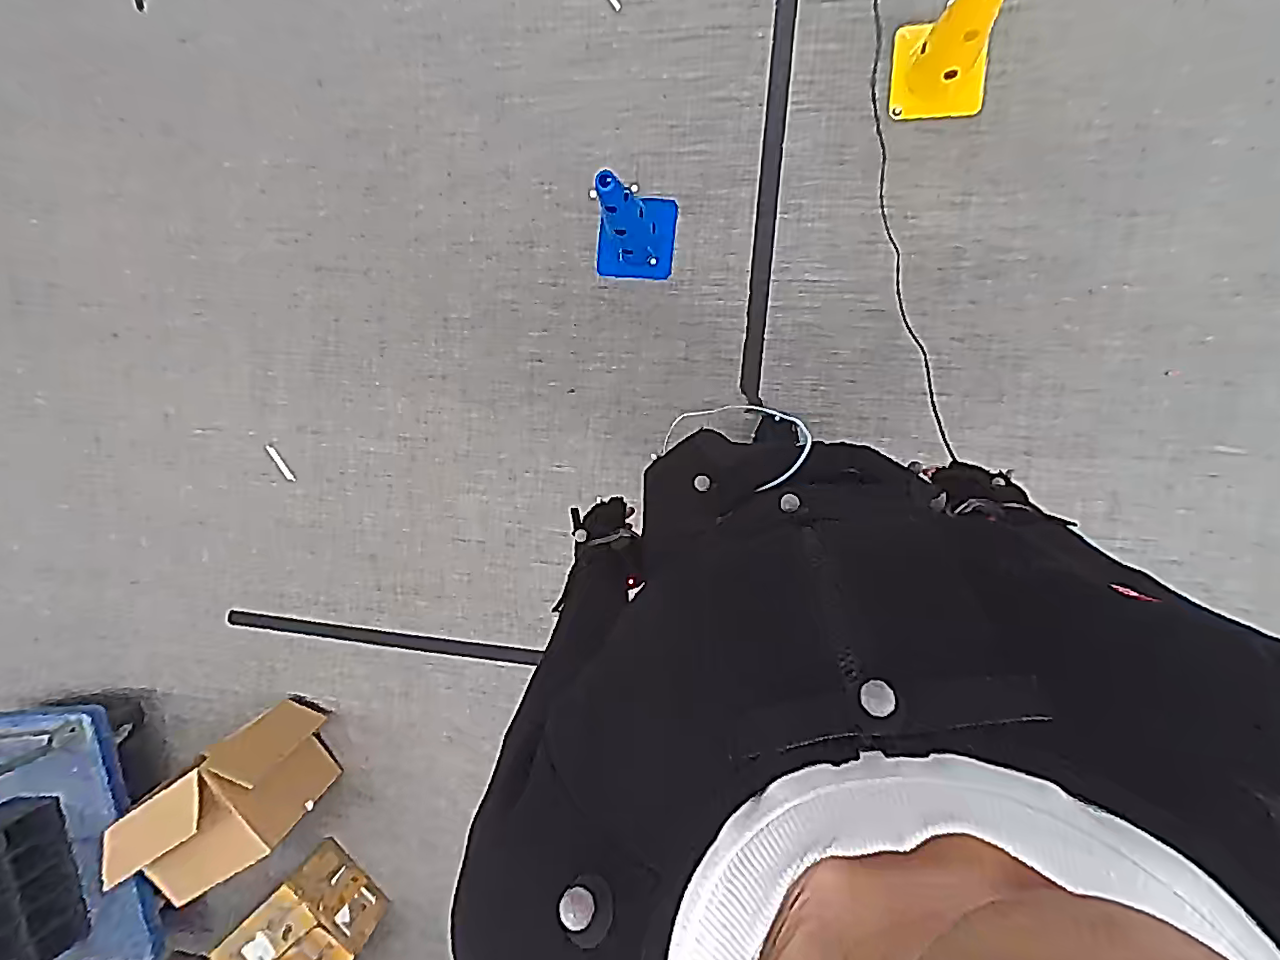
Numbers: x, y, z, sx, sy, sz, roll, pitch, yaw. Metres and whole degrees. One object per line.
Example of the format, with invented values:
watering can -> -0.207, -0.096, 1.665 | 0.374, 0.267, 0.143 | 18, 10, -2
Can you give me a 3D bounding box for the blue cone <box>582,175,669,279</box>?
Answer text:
blue cone -> -0.053, -0.603, 1.241 | 0.192, 0.380, 0.193 | 9, 98, 10
